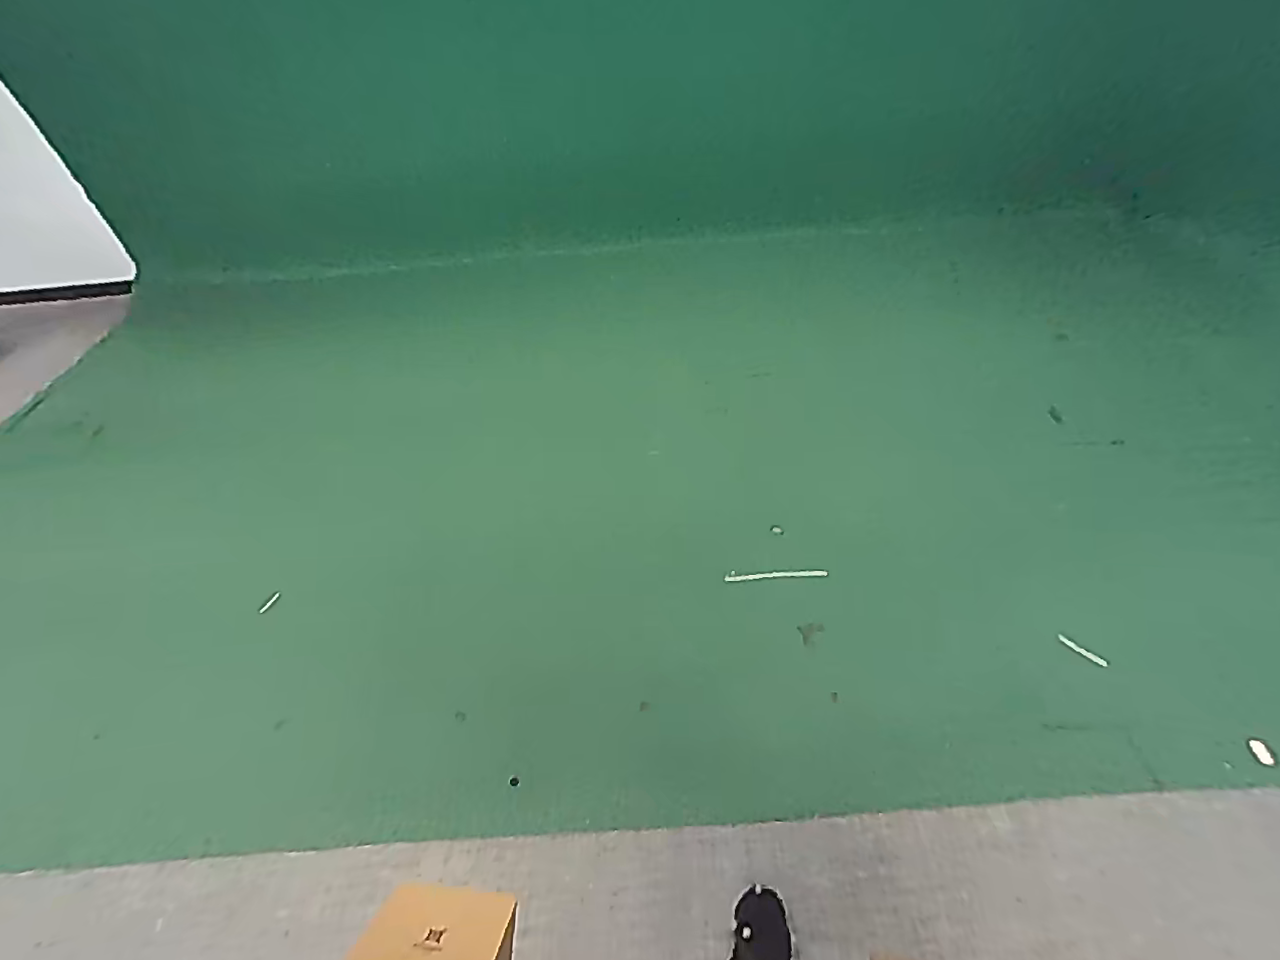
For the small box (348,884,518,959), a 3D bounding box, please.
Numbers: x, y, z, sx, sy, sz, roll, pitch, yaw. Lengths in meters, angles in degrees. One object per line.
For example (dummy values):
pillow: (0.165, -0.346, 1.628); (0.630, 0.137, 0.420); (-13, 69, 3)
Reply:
small box: (-0.255, 0.635, 0.647); (0.168, 0.179, 0.176); (4, 85, 1)
